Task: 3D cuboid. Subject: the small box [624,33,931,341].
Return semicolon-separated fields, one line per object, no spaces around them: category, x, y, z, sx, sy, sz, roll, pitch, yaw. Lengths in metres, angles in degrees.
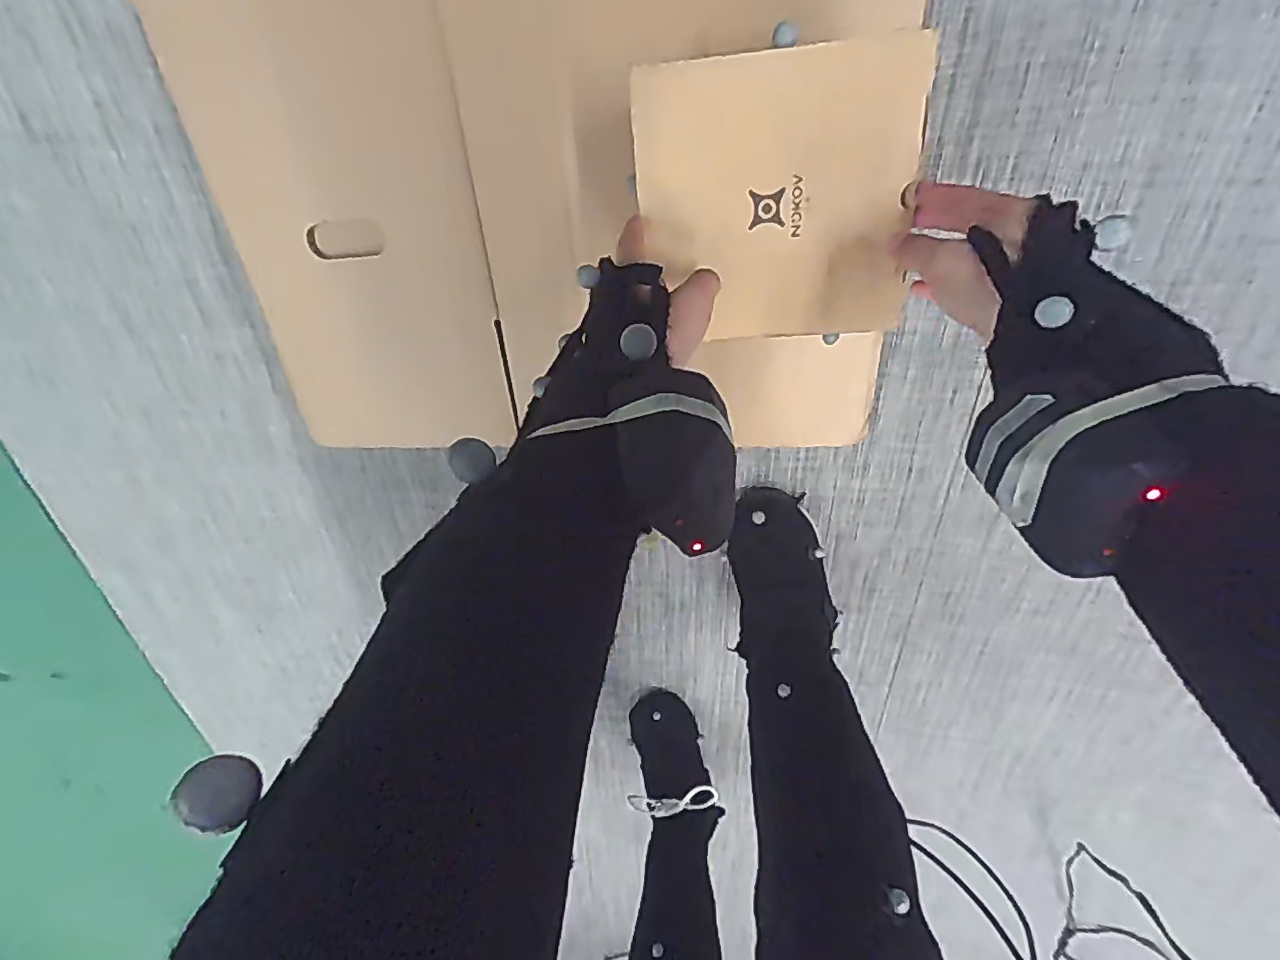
small box;0.090;-0.210;0.416;0.179;0.176;0.168;-2;117;7
